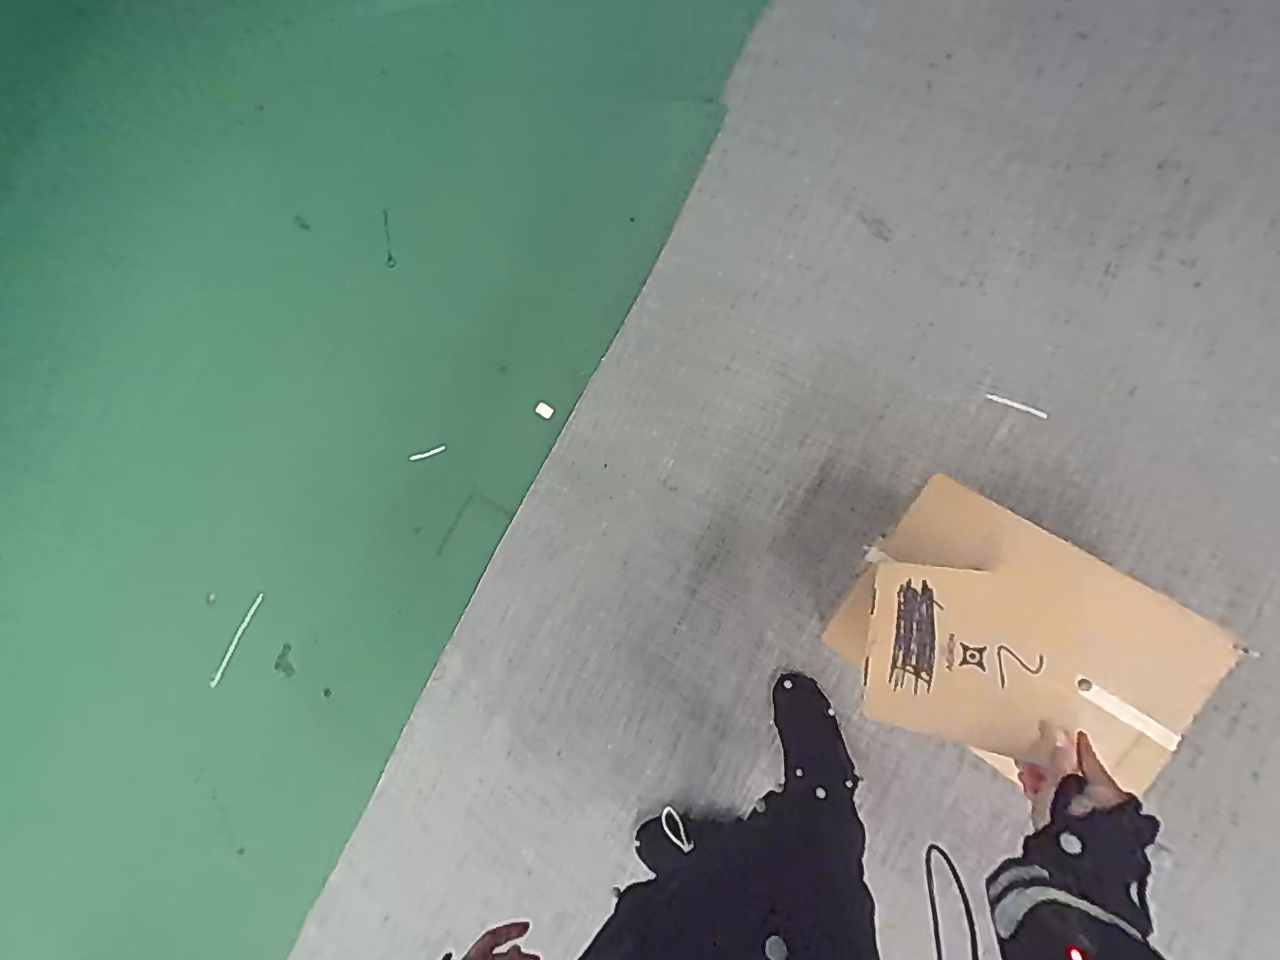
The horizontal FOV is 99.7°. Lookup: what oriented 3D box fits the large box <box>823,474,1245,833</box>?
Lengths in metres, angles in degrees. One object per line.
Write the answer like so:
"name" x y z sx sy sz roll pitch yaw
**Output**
"large box" 0.556 0.241 0.877 0.408 0.320 0.320 34 93 21
